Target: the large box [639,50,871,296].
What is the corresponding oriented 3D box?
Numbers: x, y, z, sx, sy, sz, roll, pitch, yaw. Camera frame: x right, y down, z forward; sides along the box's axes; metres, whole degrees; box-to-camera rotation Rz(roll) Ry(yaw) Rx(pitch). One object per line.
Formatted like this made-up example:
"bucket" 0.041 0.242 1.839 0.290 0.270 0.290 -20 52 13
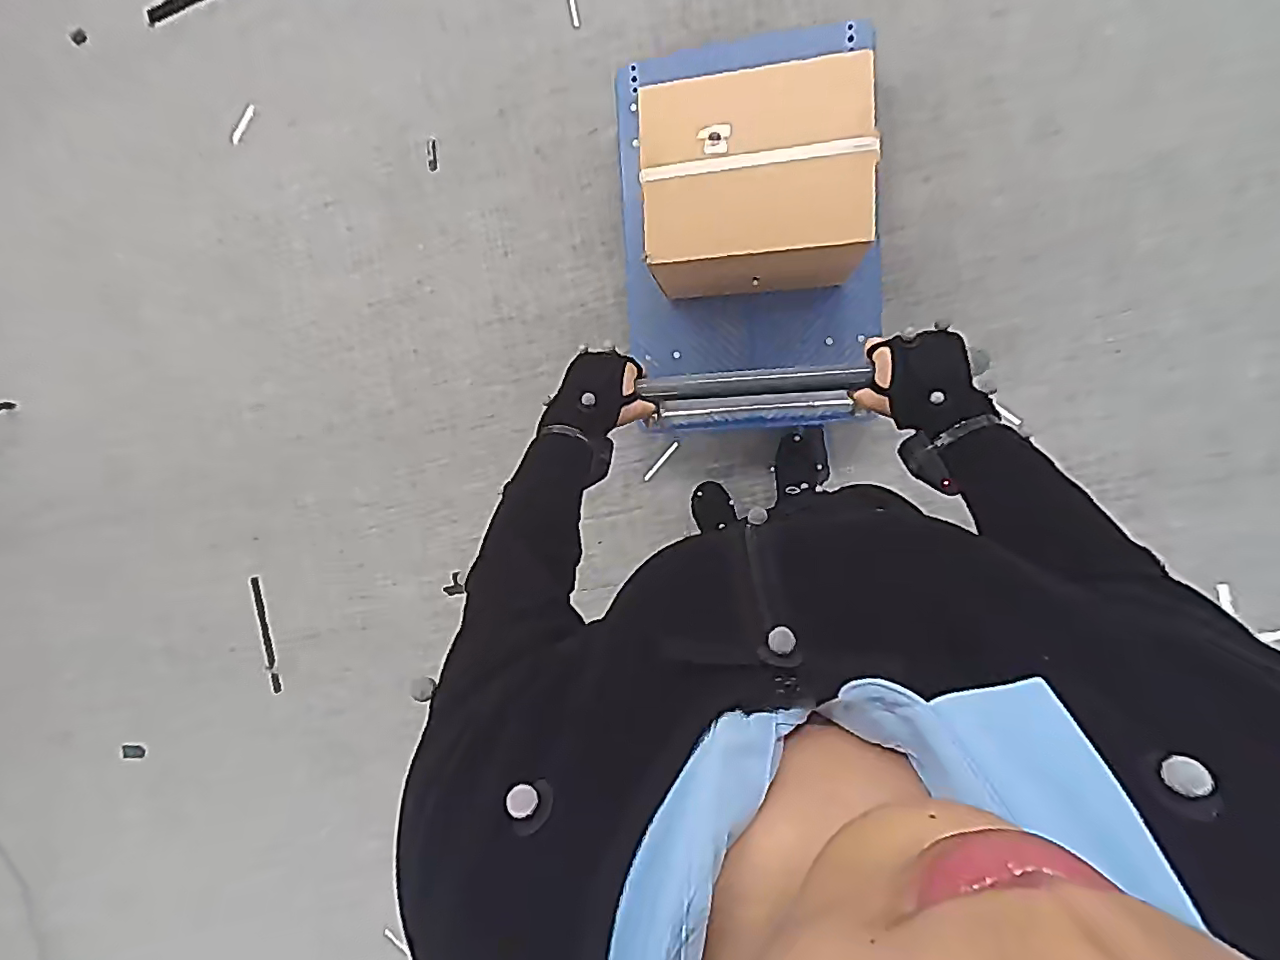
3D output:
"large box" 0.232 -0.585 1.113 0.408 0.320 0.320 -2 95 12
